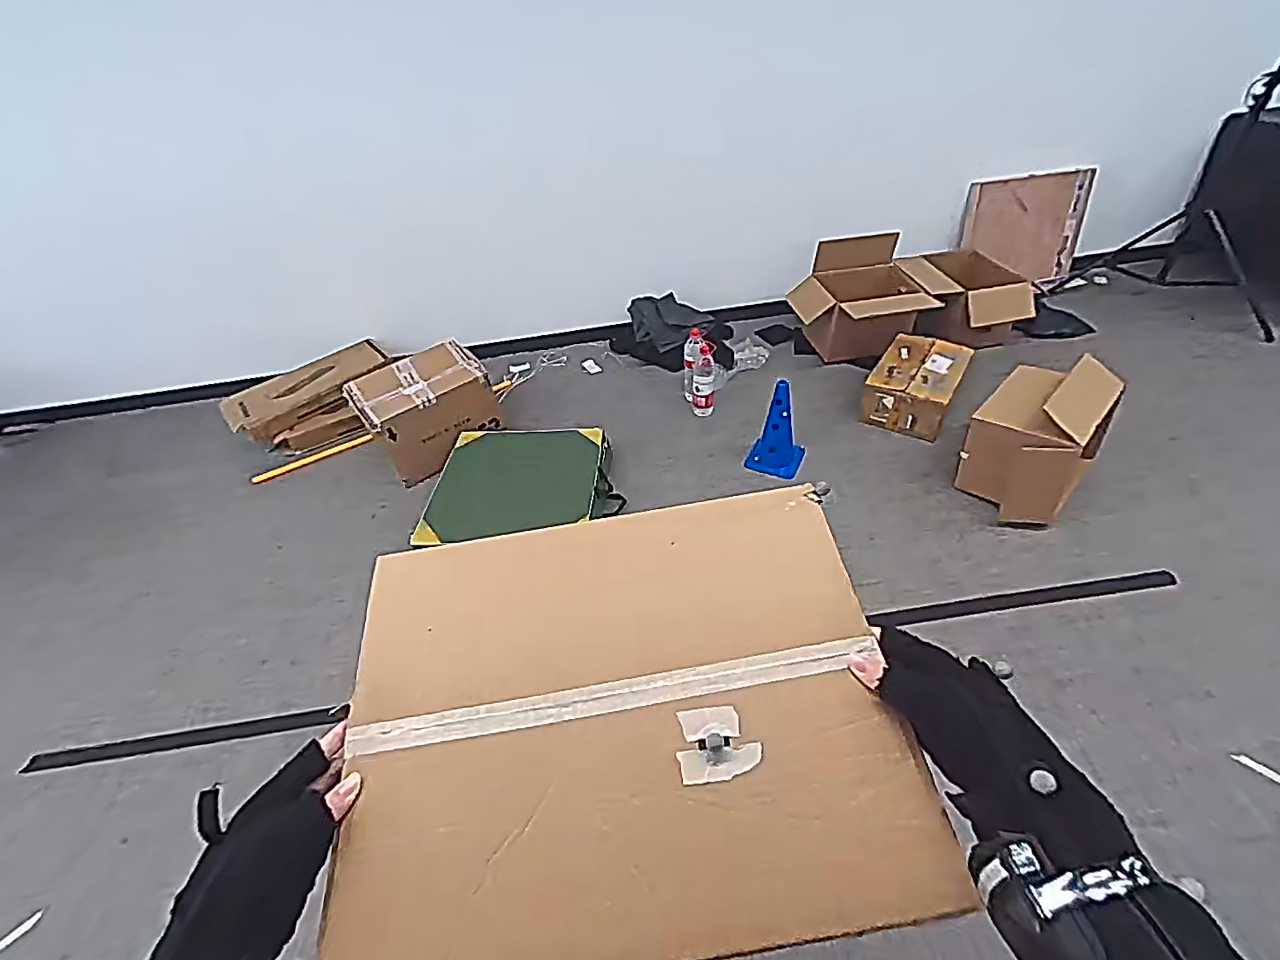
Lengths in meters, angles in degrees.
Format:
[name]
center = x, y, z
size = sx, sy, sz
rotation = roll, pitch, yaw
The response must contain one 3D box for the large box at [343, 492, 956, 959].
[large box]
center = -0.005, 0.253, 0.543
size = 0.408, 0.320, 0.320
rotation = -10, 55, -2
